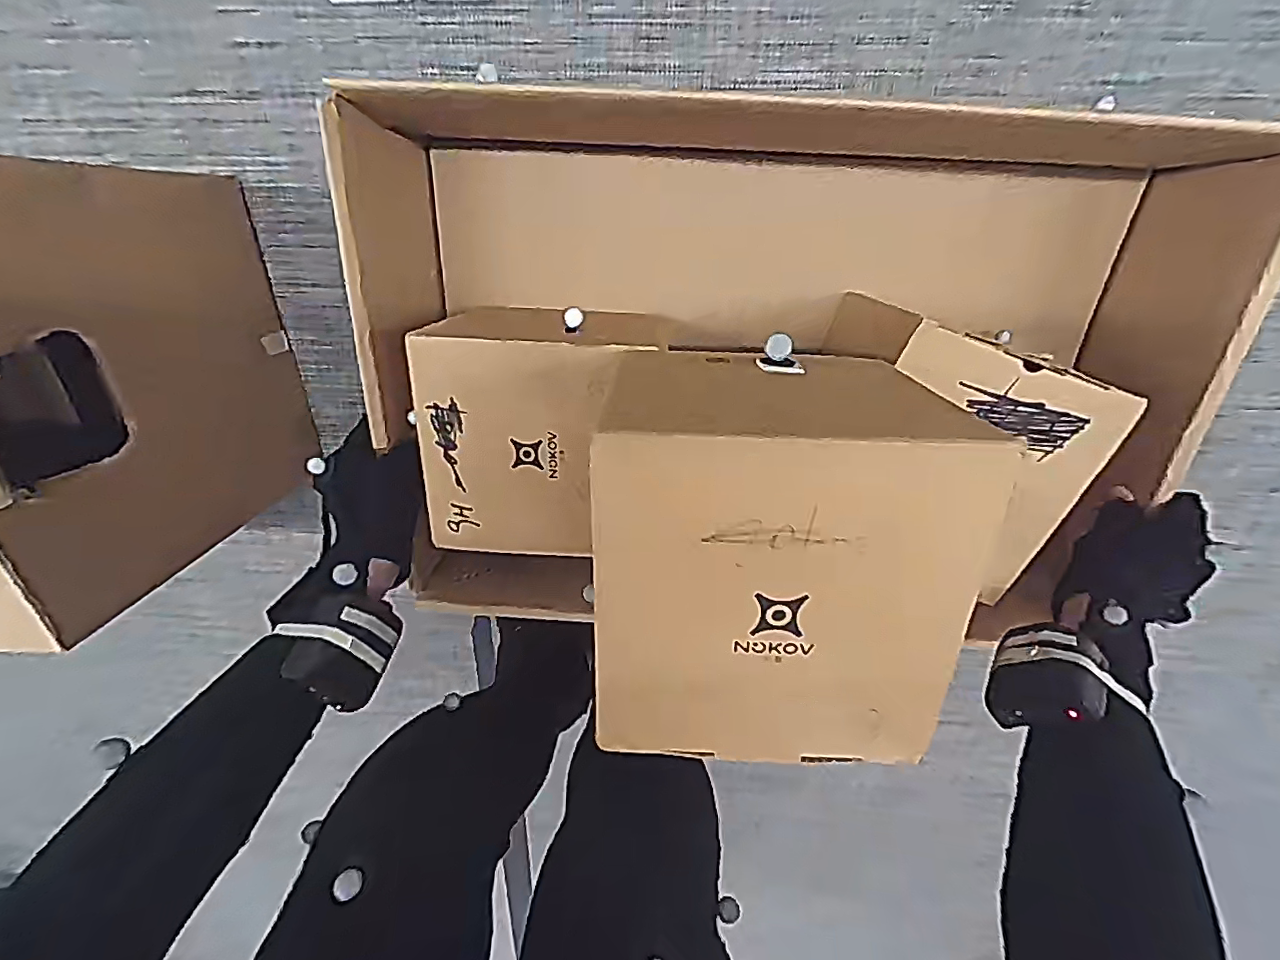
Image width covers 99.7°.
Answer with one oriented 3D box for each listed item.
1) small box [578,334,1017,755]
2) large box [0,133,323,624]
[{"bbox_3d":[0.061,0.021,0.307,0.168,0.176,0.179,1,114,2],"label":"small box"},{"bbox_3d":[-0.582,-0.096,0.457,0.408,0.320,0.320,-1,117,3],"label":"large box"}]
